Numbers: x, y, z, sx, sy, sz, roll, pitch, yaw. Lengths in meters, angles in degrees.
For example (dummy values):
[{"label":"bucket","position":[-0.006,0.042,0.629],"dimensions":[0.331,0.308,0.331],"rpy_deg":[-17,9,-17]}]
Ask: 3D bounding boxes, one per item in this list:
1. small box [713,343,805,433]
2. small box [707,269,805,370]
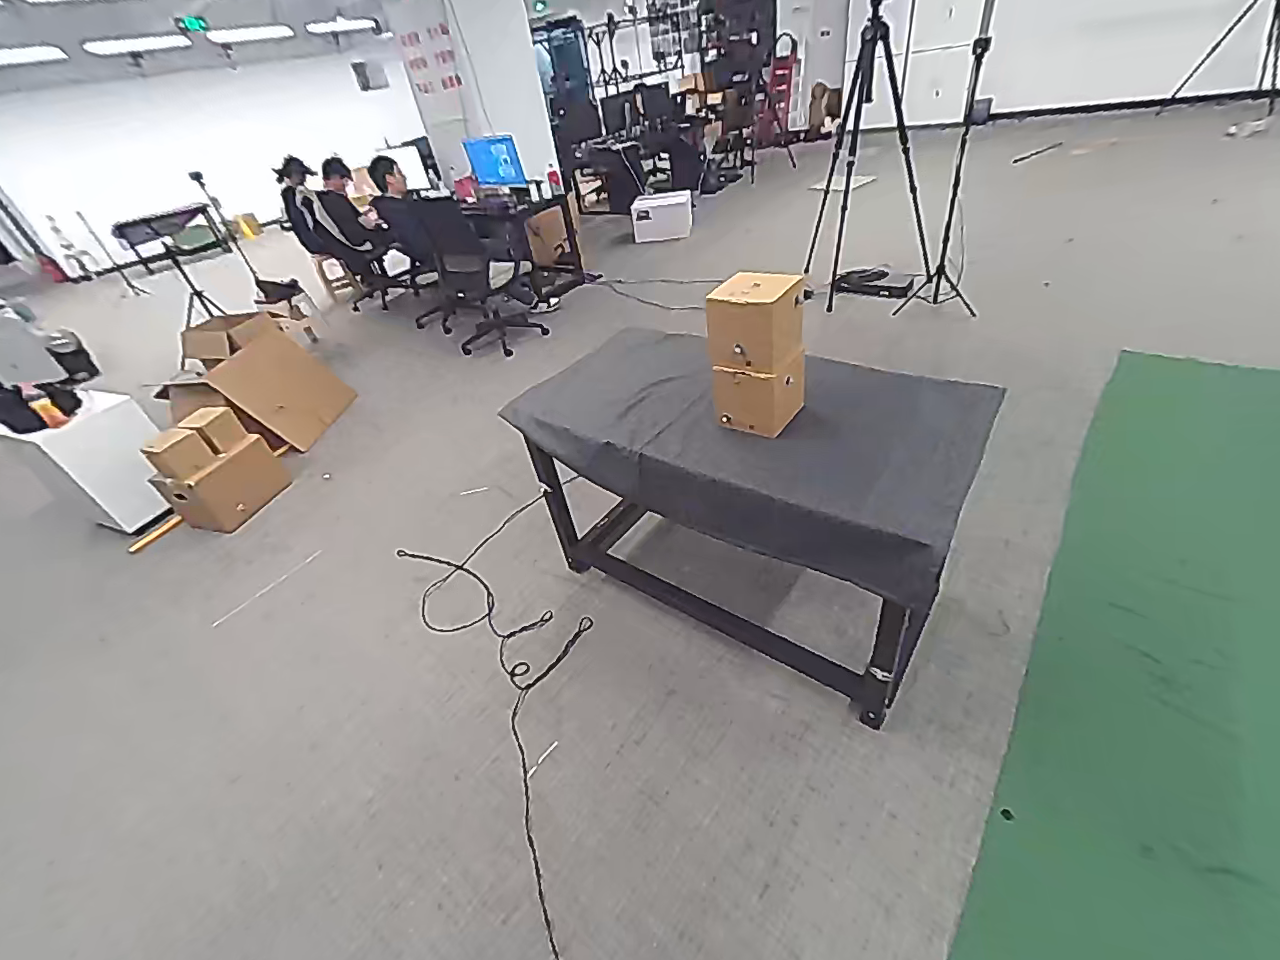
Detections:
[{"label":"small box","position":[0.302,-0.239,1.354],"dimensions":[0.168,0.176,0.179],"rpy_deg":[19,46,33]},{"label":"small box","position":[0.274,-0.378,1.269],"dimensions":[0.168,0.176,0.179],"rpy_deg":[17,47,33]}]
